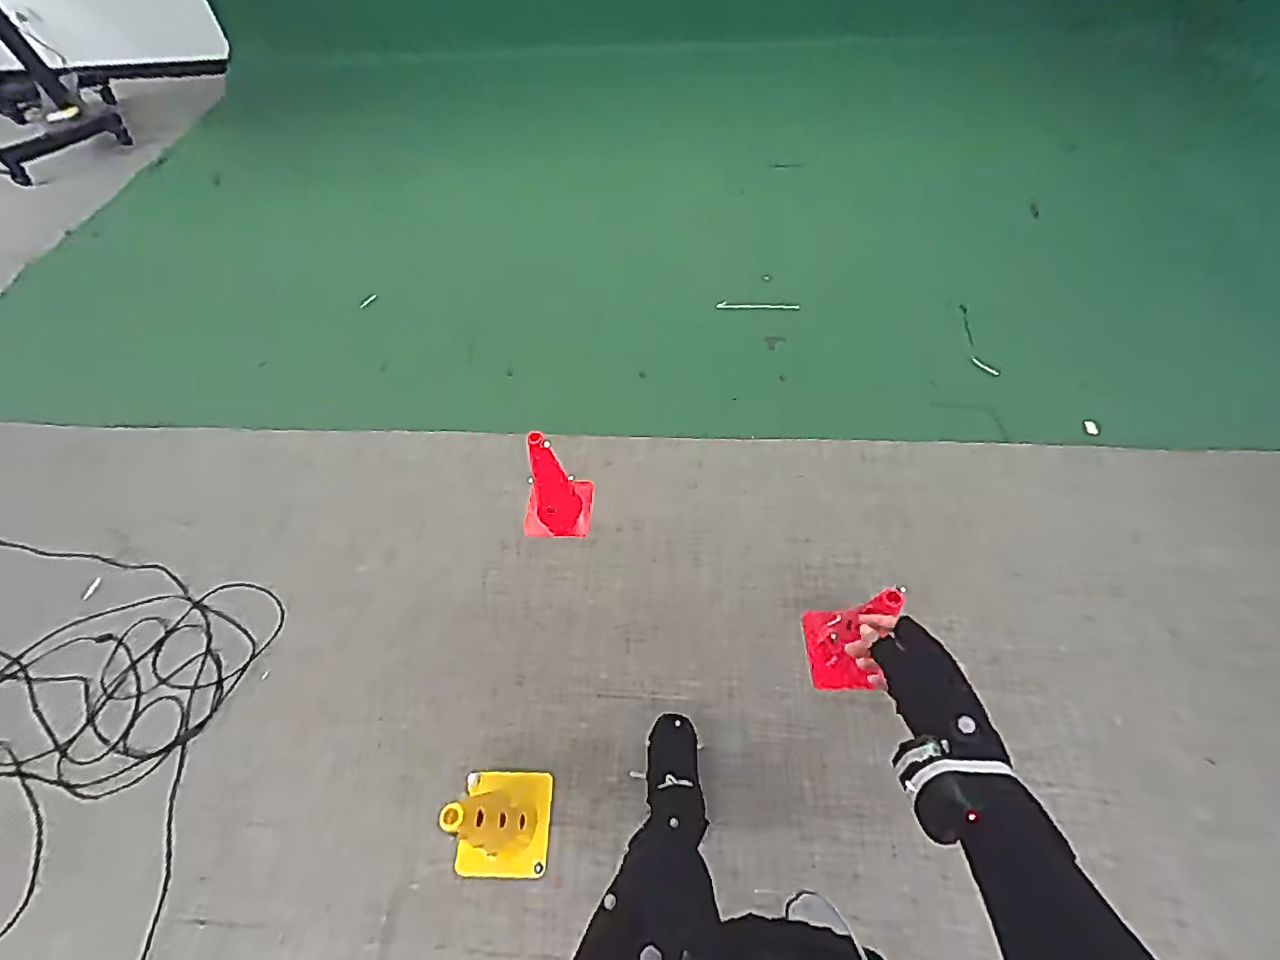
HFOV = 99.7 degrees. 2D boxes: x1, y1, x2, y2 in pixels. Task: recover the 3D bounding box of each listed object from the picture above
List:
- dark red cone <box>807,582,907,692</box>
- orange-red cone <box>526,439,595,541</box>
[{"bbox_3d":[0.521,0.329,1.218,0.202,0.394,0.201,-4,55,2],"label":"dark red cone"},{"bbox_3d":[-0.256,0.007,1.521,0.198,0.360,0.199,1,57,6],"label":"orange-red cone"}]
